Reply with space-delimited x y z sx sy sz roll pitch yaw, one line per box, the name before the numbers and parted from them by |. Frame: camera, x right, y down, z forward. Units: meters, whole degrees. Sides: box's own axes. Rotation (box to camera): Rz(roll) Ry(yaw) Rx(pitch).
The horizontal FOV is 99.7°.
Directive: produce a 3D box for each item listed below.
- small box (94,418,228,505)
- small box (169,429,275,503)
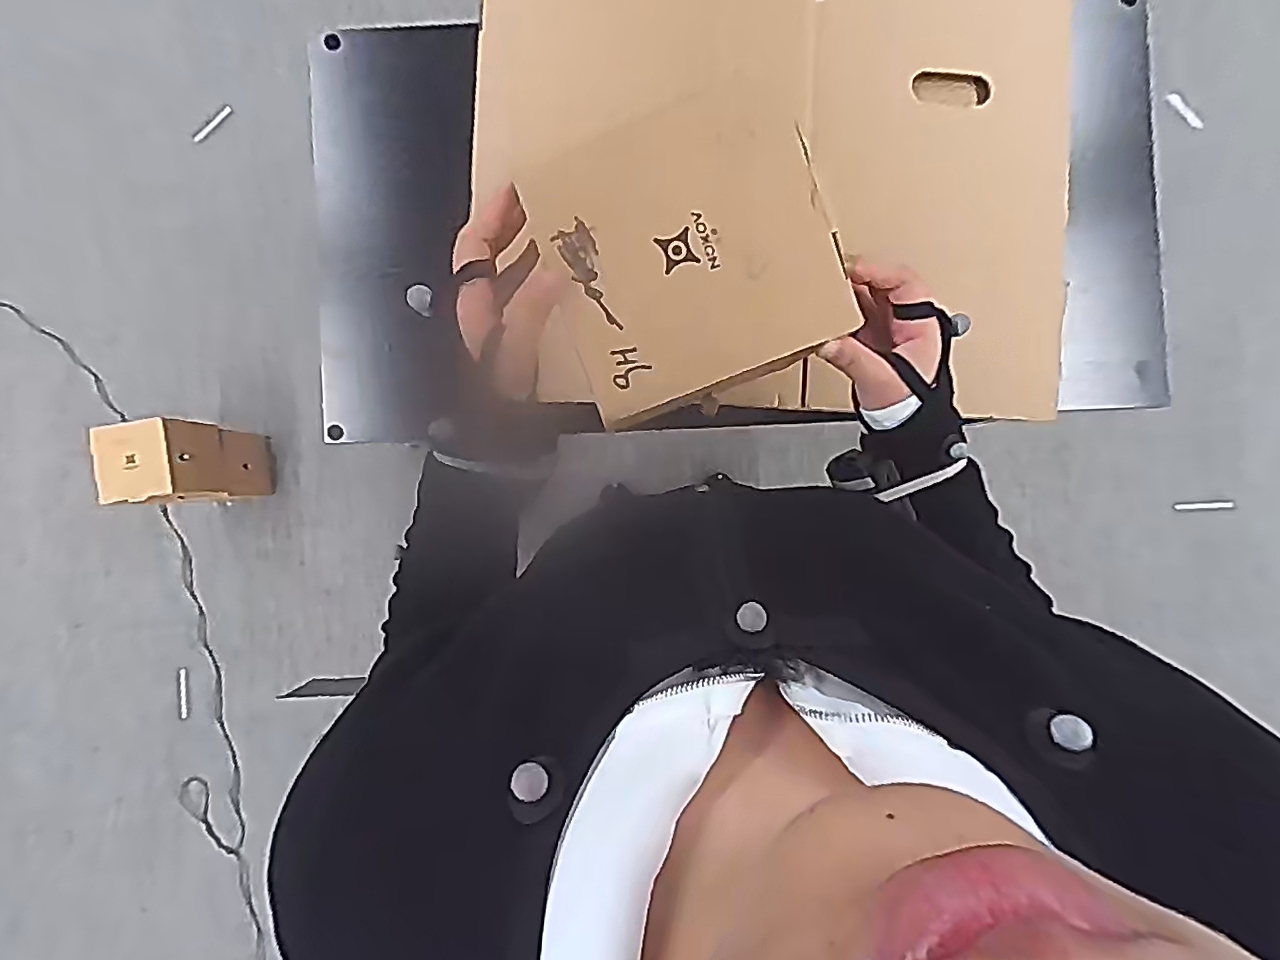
small box | -1.119 -0.041 1.280 0.168 0.176 0.179 -9 89 0
small box | -1.116 -0.033 1.443 0.168 0.176 0.179 -7 90 1
